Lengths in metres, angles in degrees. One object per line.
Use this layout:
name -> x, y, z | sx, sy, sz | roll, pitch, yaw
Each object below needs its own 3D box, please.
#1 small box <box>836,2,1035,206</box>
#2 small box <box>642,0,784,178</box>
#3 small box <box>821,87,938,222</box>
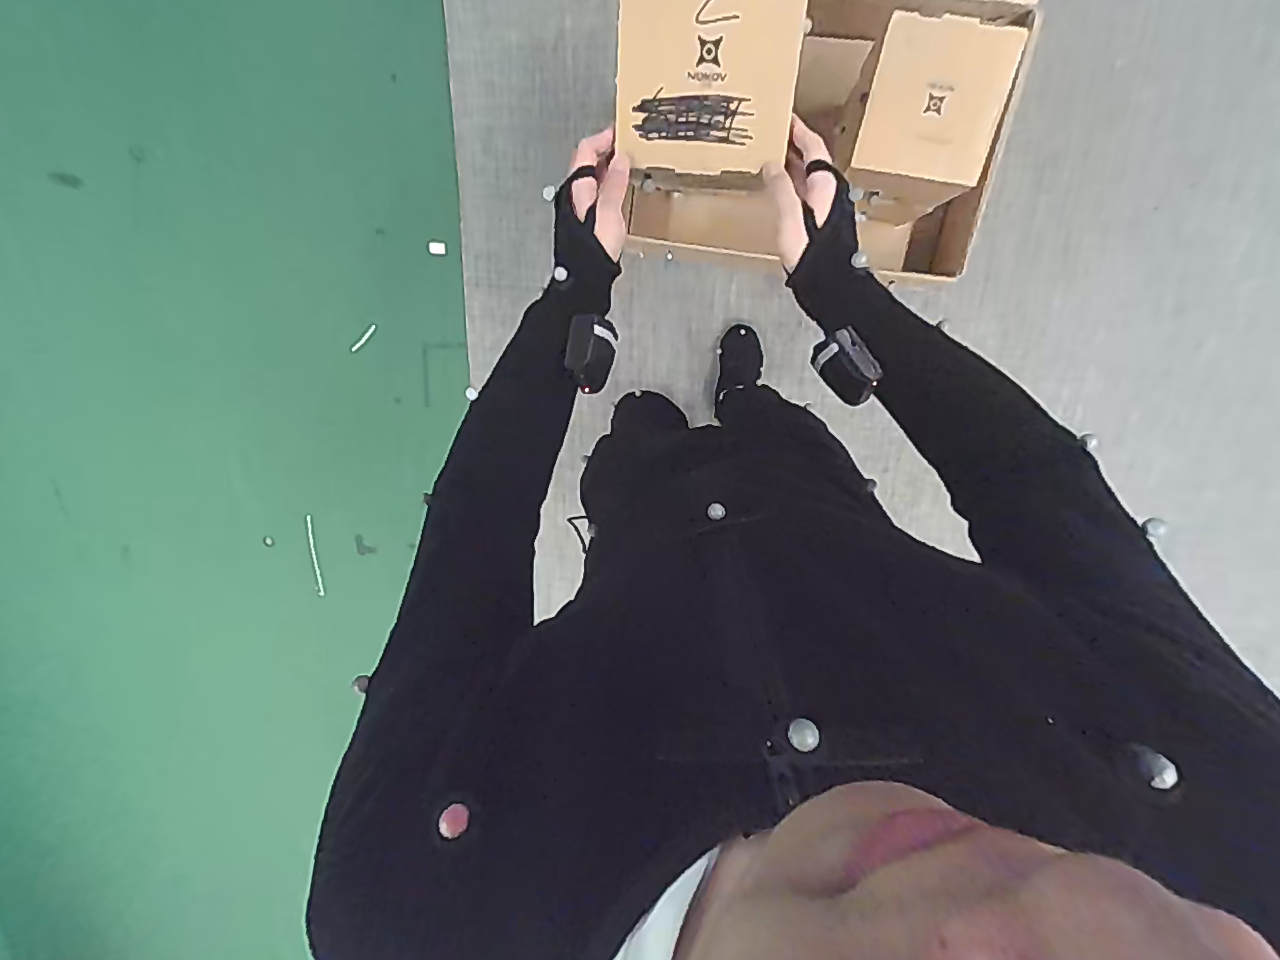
small box -> 0.387, -0.502, 0.749 | 0.168, 0.176, 0.179 | 13, 109, 5
small box -> 0.102, -0.556, 0.775 | 0.168, 0.176, 0.179 | 7, 108, 7
small box -> 0.416, -0.551, 0.902 | 0.168, 0.176, 0.179 | 14, 109, 5
